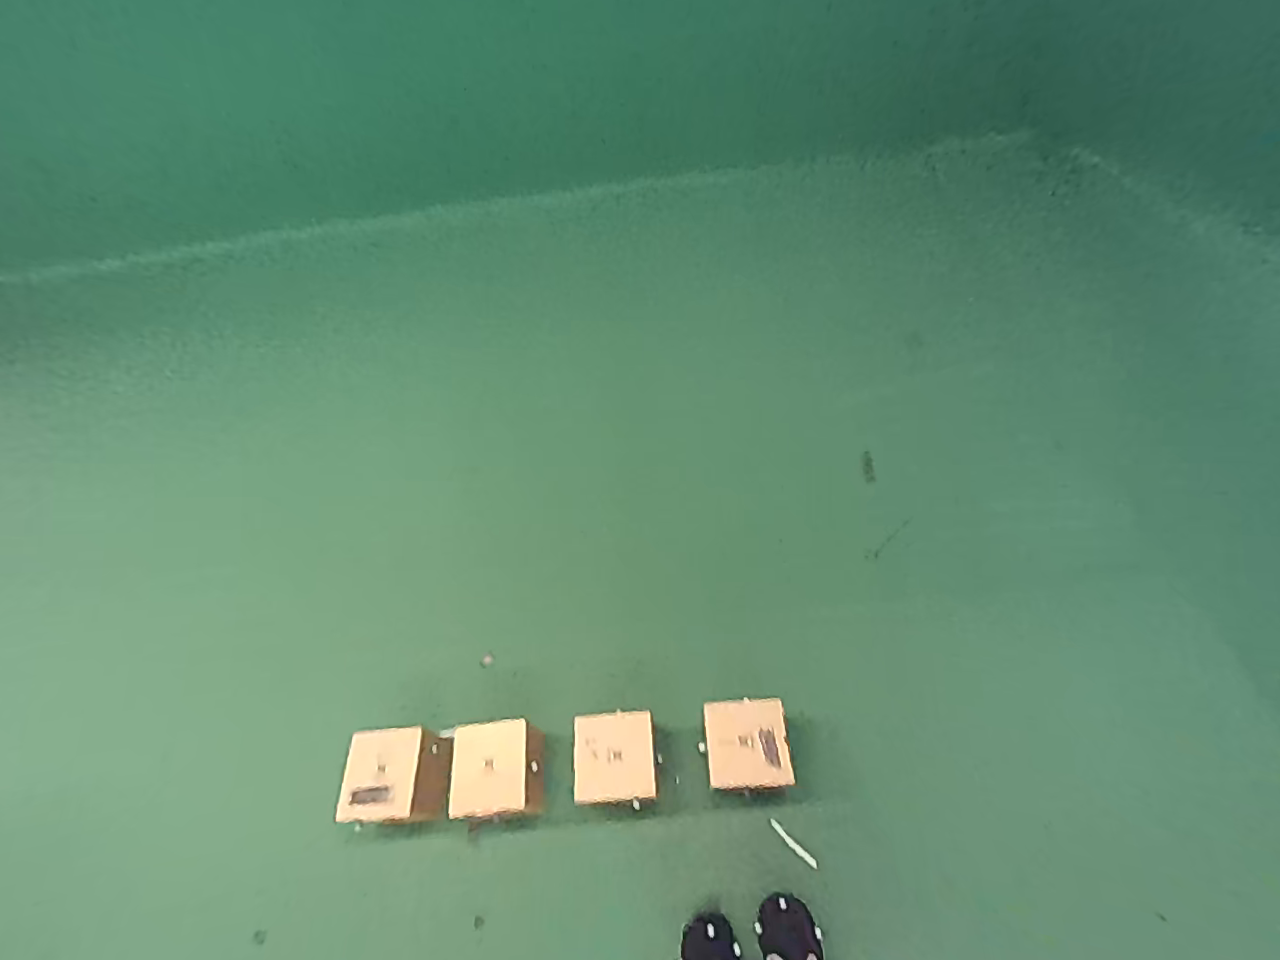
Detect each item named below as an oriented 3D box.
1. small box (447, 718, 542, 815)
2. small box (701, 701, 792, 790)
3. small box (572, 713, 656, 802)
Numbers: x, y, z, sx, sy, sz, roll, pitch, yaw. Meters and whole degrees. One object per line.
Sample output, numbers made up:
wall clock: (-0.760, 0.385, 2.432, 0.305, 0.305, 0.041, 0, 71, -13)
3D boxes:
small box: (-0.328, 0.665, 1.251, 0.168, 0.176, 0.179, -7, 58, 1)
small box: (0.233, 0.607, 1.230, 0.179, 0.176, 0.168, -4, 57, 4)
small box: (-0.054, 0.637, 1.238, 0.179, 0.176, 0.168, -5, 57, 2)
